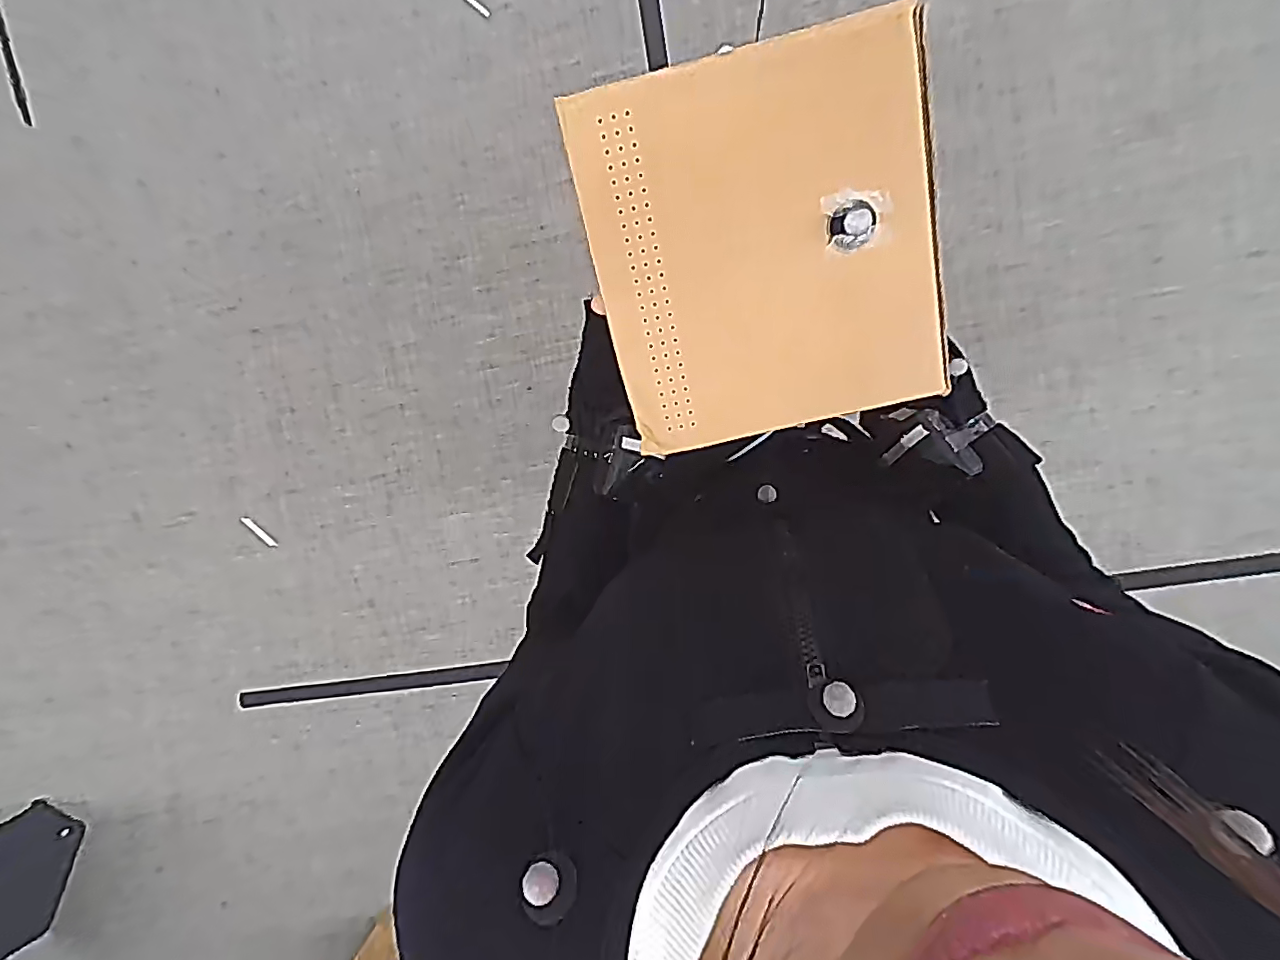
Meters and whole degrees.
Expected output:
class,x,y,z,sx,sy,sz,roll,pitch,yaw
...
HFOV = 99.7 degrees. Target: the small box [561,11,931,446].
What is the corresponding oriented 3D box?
class,x,y,z,sx,sy,sz,roll,pitch,yaw
small box,0.057,-0.138,0.350,0.176,0.168,0.179,-12,107,6
